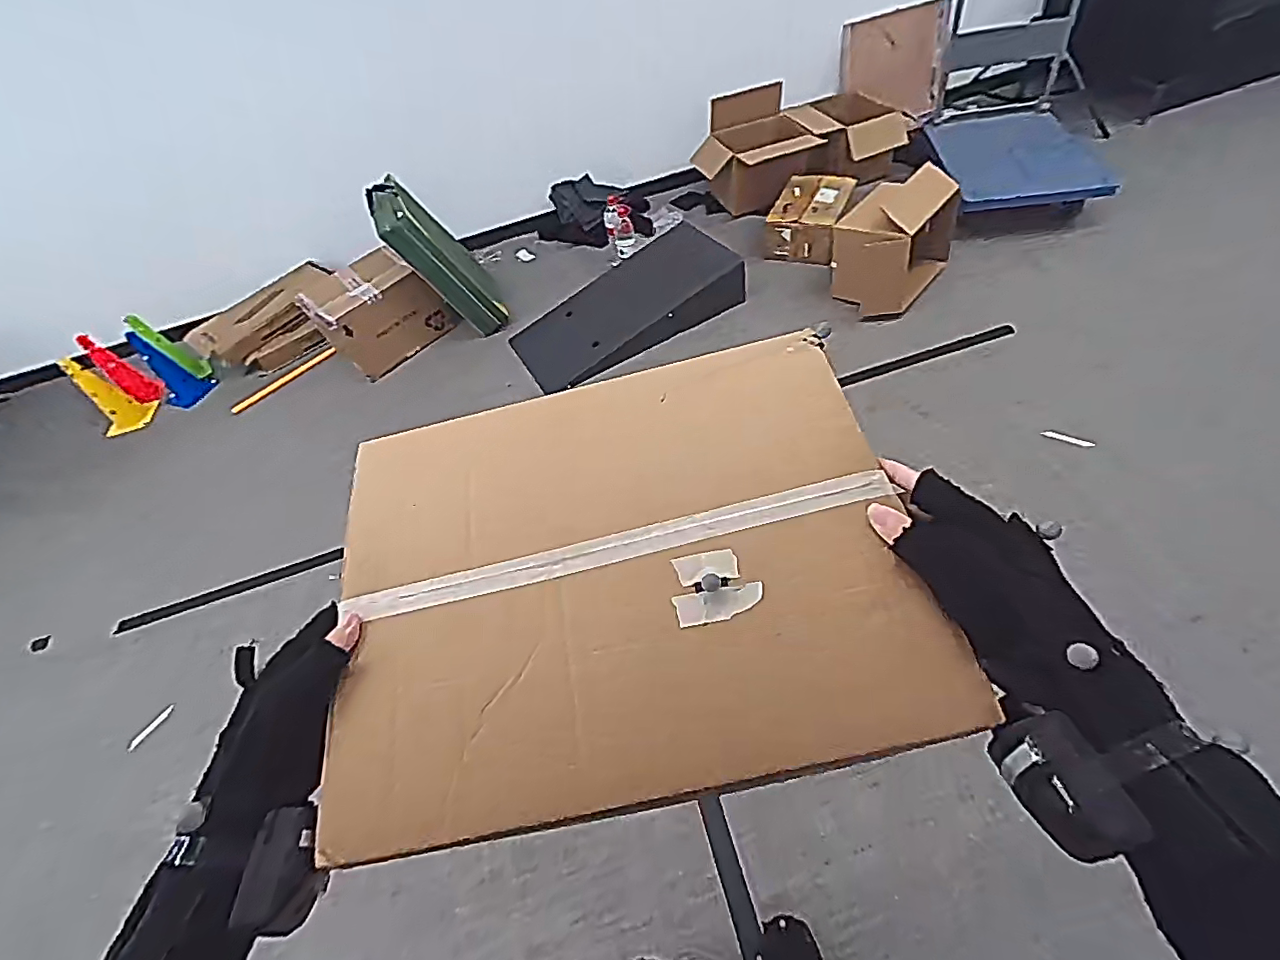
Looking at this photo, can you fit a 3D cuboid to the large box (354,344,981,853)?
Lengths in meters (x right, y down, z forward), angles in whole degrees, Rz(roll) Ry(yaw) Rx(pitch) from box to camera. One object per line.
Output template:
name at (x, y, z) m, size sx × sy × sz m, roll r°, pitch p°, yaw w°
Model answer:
large box at (0.007, 0.129, 0.530) m, size 0.408 × 0.320 × 0.320 m, roll -14°, pitch 59°, yaw 2°
